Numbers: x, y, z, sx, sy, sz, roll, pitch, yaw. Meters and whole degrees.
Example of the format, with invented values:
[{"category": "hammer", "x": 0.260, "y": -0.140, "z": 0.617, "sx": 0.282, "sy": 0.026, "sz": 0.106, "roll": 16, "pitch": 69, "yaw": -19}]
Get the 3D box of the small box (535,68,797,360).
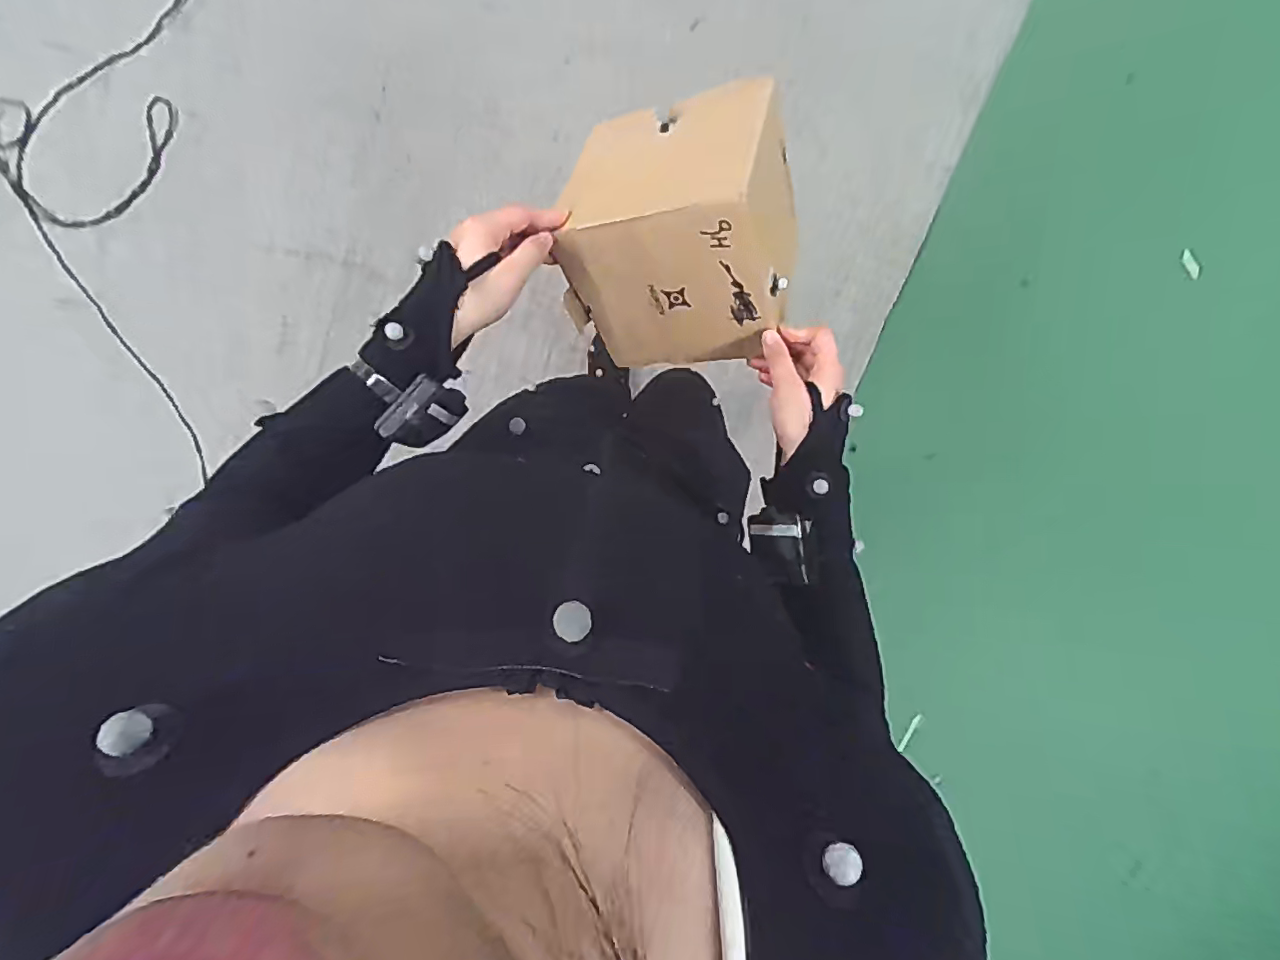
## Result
[{"category": "small box", "x": 0.038, "y": -0.234, "z": 0.504, "sx": 0.179, "sy": 0.176, "sz": 0.168, "roll": 2, "pitch": 151, "yaw": 26}]
